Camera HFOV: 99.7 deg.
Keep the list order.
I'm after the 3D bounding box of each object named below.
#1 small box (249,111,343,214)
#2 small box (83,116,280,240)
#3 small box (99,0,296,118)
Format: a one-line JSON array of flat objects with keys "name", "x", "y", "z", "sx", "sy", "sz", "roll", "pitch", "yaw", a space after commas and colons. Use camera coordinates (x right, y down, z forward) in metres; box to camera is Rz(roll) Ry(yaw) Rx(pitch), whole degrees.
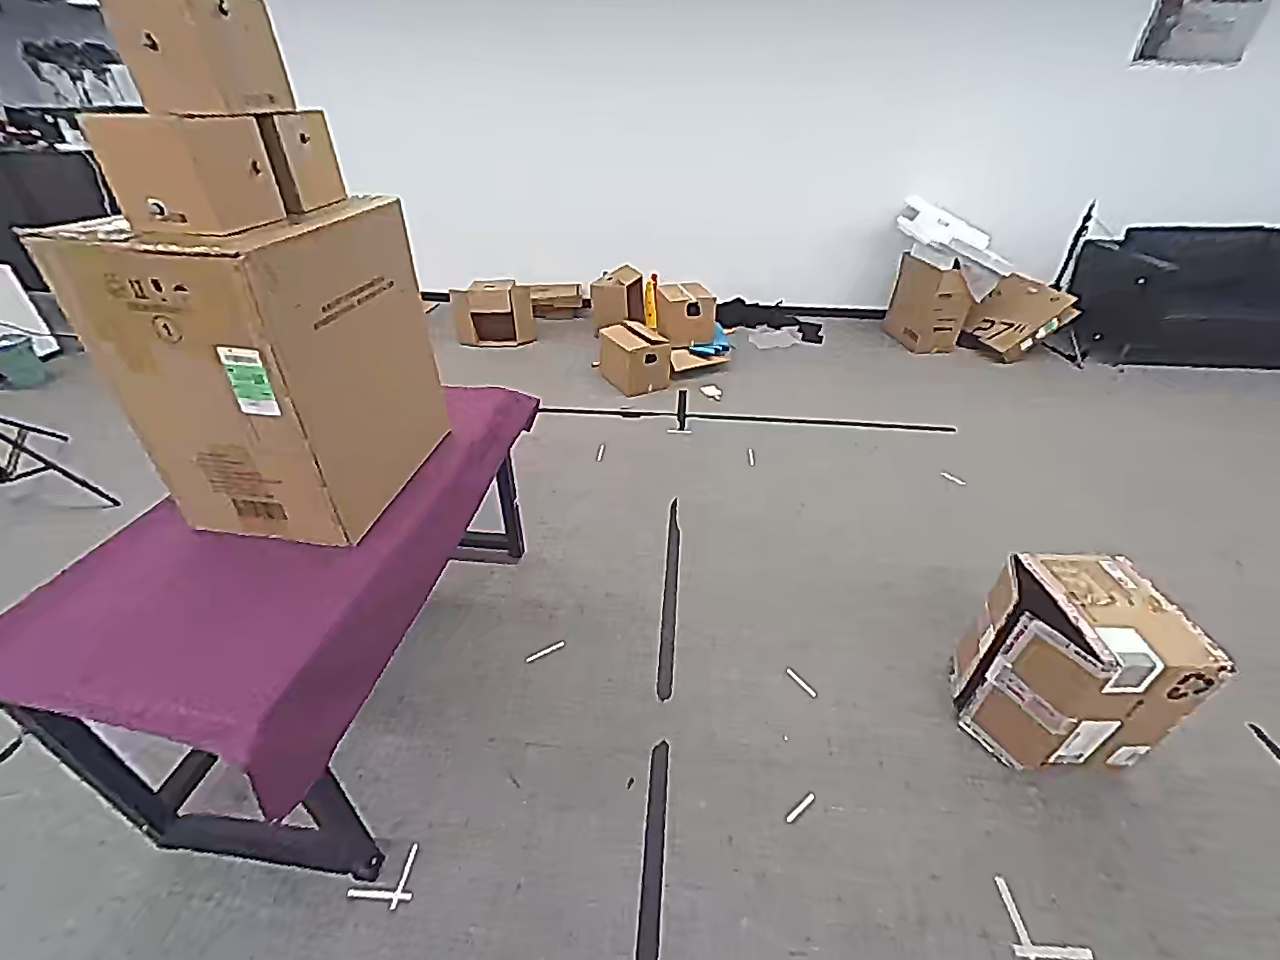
[{"name": "small box", "x": -0.746, "y": -0.652, "z": 1.109, "sx": 0.168, "sy": 0.176, "sz": 0.179, "roll": 3, "pitch": 36, "yaw": 3}, {"name": "small box", "x": -0.762, "y": -0.521, "z": 0.928, "sx": 0.168, "sy": 0.176, "sz": 0.179, "roll": 2, "pitch": 35, "yaw": 3}, {"name": "small box", "x": -0.756, "y": -0.733, "z": 0.944, "sx": 0.179, "sy": 0.176, "sz": 0.168, "roll": 7, "pitch": 37, "yaw": 11}]
